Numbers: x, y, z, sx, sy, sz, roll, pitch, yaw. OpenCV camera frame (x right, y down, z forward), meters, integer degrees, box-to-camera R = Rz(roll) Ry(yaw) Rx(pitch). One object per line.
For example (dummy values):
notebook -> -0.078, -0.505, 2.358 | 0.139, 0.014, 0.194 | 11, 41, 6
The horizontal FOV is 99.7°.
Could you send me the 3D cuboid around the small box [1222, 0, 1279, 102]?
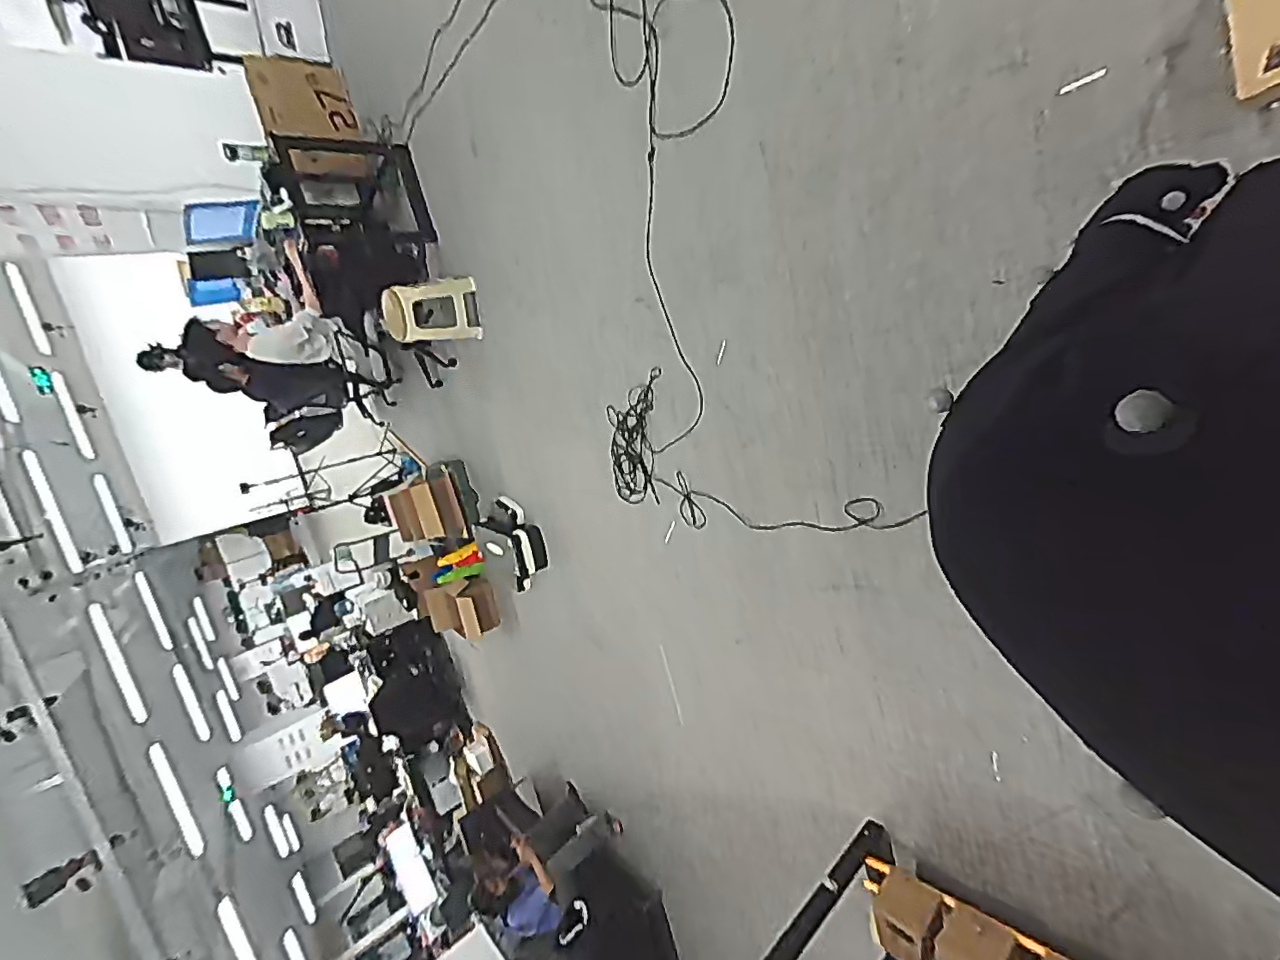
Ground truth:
small box -> 0.999, -0.695, 0.800 | 0.168, 0.176, 0.179 | -7, 101, 53
